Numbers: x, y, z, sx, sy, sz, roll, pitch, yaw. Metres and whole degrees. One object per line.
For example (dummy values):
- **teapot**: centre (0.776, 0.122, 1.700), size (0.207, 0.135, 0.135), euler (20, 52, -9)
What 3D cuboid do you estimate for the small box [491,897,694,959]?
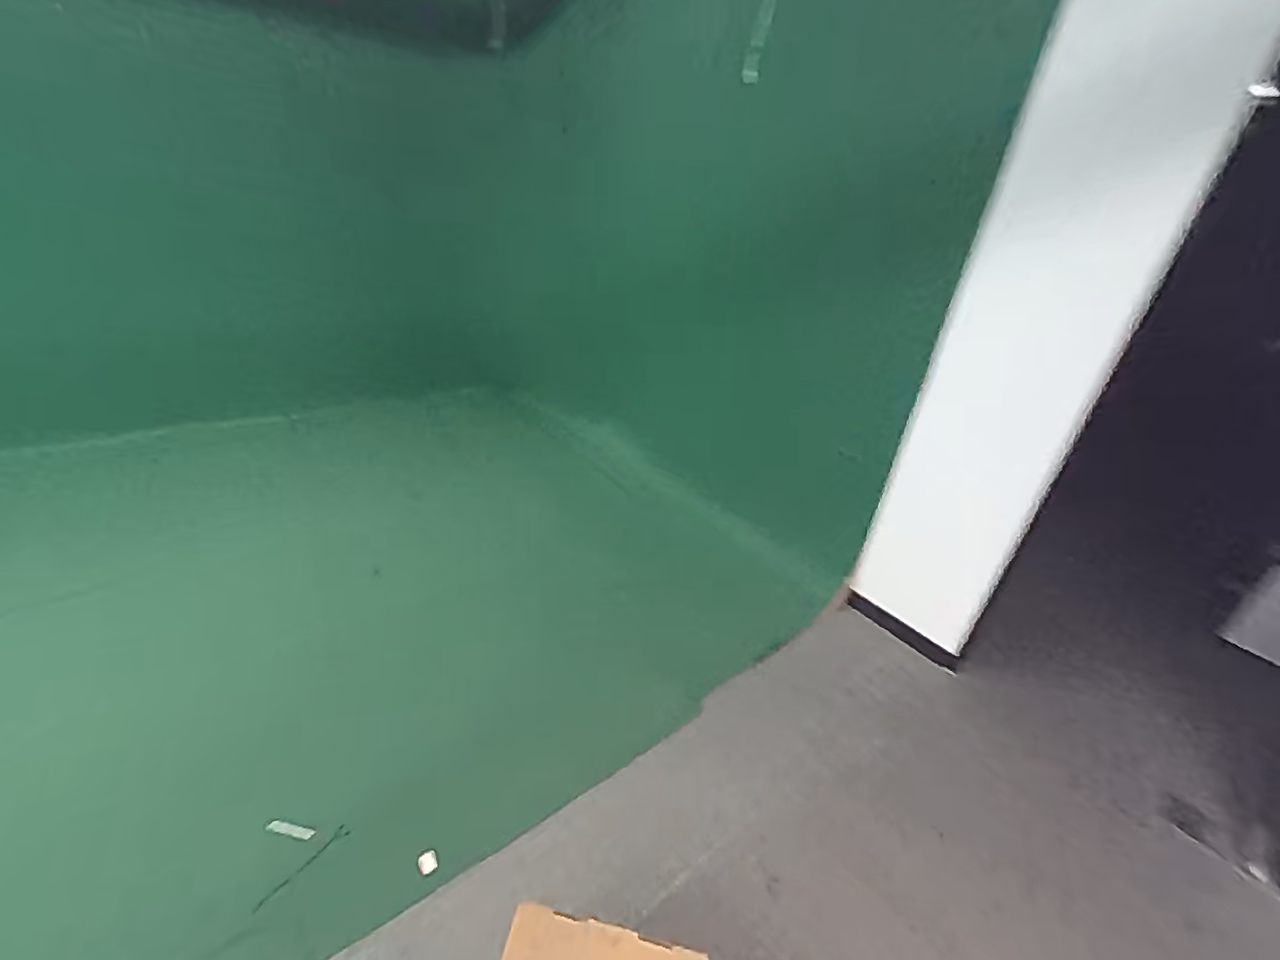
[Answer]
- **small box**: centre (-0.056, 0.491, 0.447), size (0.168, 0.176, 0.179), euler (11, 40, 6)
